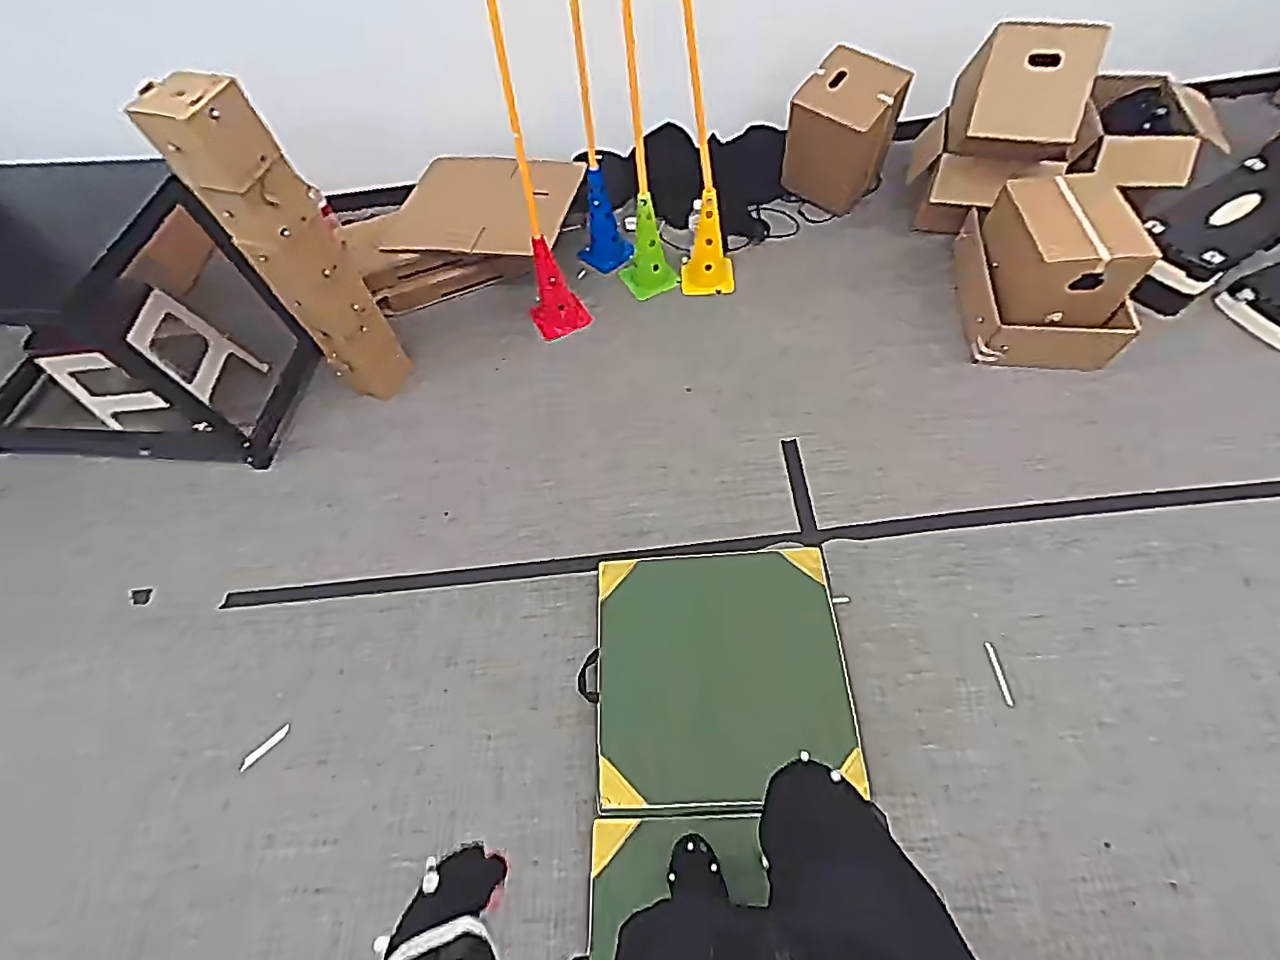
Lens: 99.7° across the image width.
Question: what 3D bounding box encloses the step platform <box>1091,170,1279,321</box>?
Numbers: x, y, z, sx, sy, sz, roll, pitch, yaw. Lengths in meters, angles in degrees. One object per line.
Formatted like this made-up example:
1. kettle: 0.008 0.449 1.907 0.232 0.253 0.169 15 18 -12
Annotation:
1. step platform: 1.985 -0.839 1.914 0.684 0.204 0.286 -31 62 -11
